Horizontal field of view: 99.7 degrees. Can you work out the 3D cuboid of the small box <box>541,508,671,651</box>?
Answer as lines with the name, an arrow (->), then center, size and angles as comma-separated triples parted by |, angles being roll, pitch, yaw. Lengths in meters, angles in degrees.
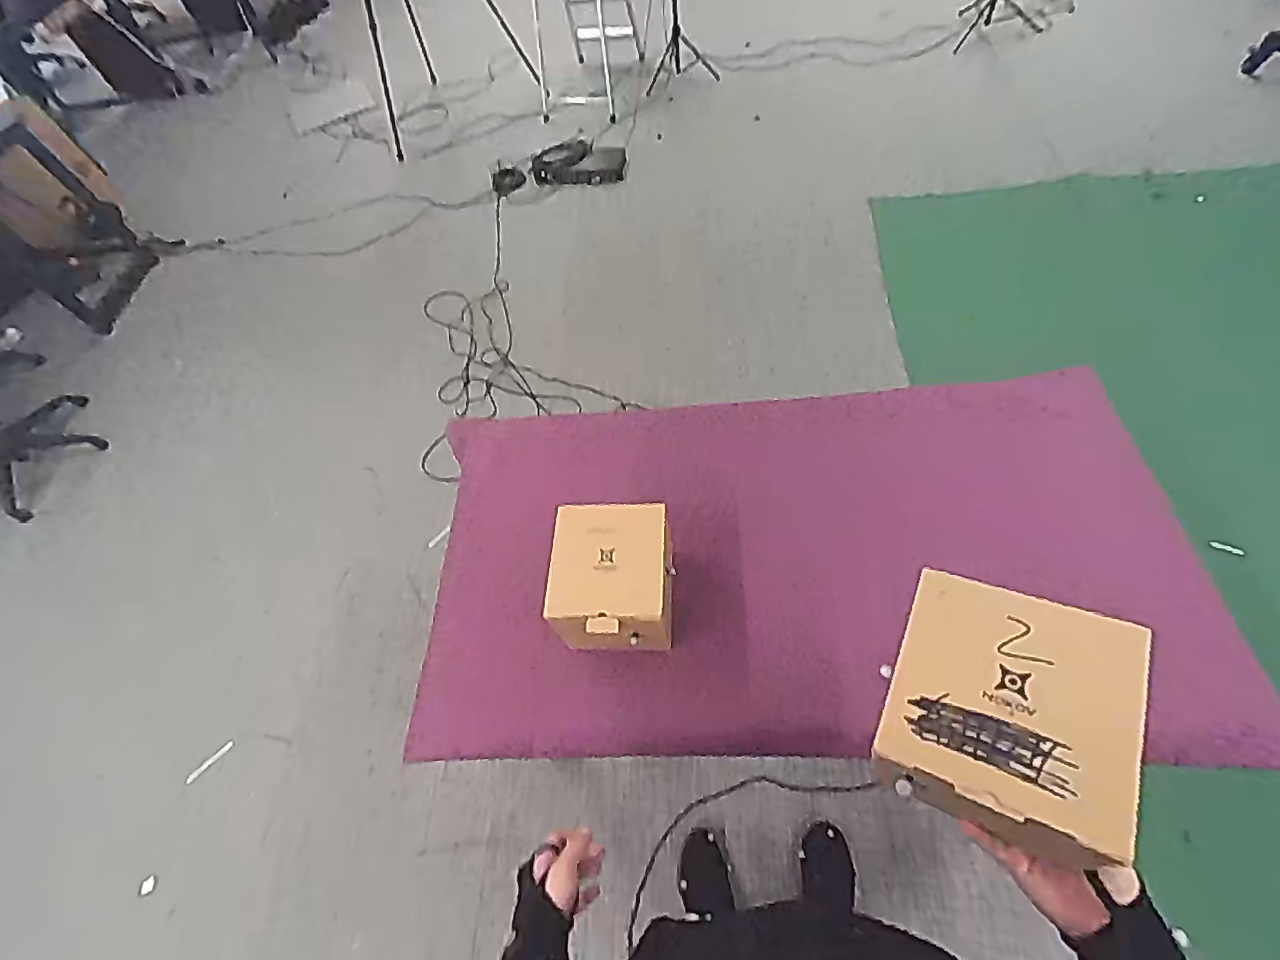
small box -> -0.040, 0.158, 0.839 | 0.168, 0.176, 0.179 | 0, 58, 8
